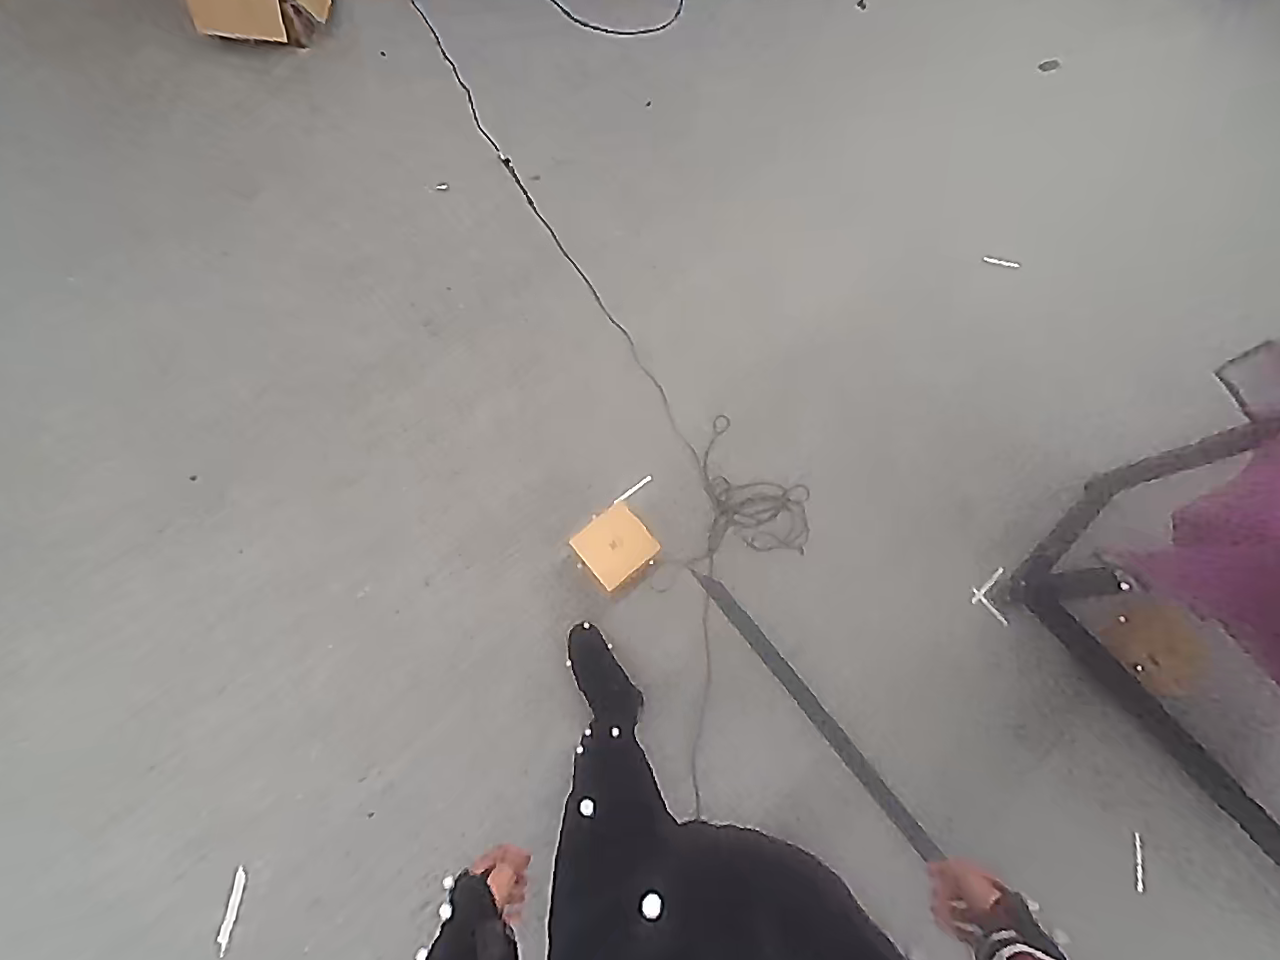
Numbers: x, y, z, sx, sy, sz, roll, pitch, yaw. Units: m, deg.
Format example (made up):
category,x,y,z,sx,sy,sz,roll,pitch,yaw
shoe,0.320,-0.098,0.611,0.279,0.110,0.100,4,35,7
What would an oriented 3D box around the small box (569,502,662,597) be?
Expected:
category,x,y,z,sx,sy,sz,roll,pitch,yaw
small box,-0.064,0.189,1.419,0.179,0.176,0.168,-39,79,-15
